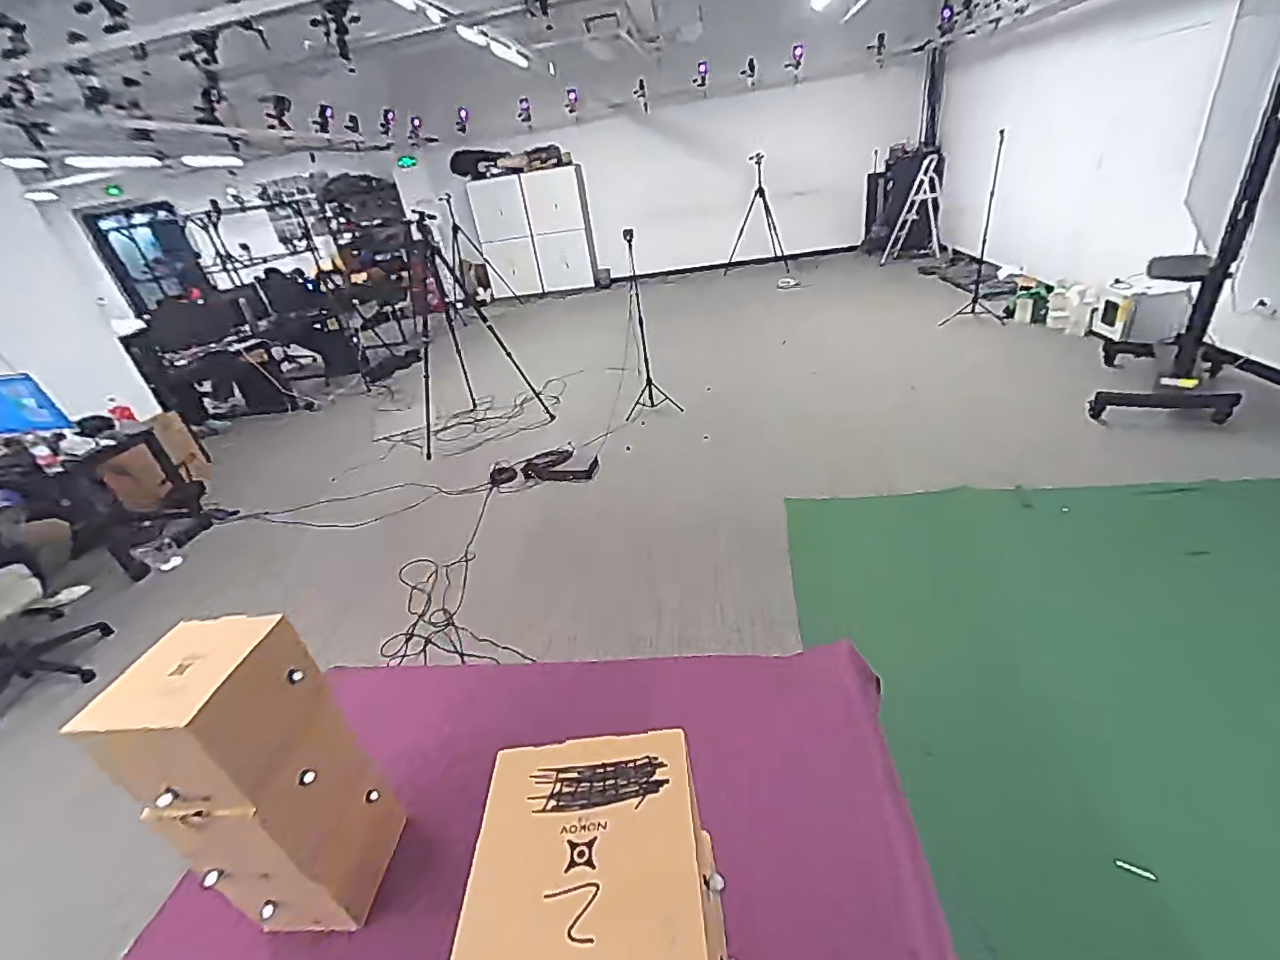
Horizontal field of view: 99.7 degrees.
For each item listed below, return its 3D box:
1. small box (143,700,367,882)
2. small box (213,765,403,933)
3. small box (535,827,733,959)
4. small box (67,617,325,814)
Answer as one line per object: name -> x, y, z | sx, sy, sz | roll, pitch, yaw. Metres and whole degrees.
small box -> -0.535, 0.450, 0.786 | 0.168, 0.176, 0.179 | -5, 28, 8
small box -> -0.511, 0.591, 0.868 | 0.168, 0.176, 0.179 | -6, 29, 7
small box -> 0.003, 0.470, 0.513 | 0.168, 0.176, 0.179 | -7, 26, 6
small box -> -0.556, 0.306, 0.714 | 0.168, 0.176, 0.179 | -6, 29, 8
